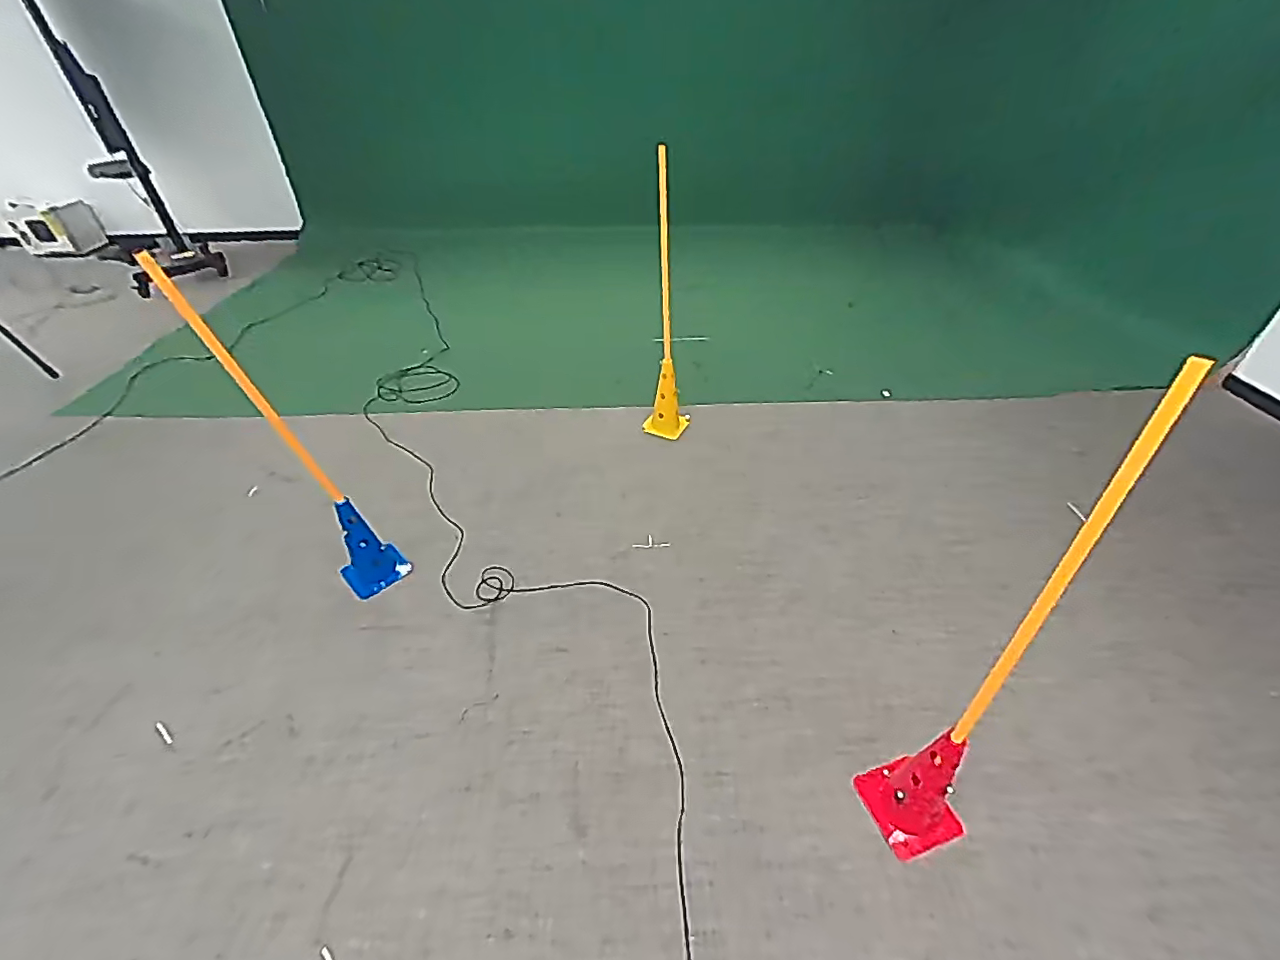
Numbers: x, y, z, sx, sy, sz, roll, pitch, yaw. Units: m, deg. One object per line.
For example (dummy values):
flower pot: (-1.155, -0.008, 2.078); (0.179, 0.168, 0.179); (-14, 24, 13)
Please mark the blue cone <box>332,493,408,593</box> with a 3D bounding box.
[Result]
blue cone: (-0.968, 0.196, 1.862); (0.192, 0.380, 0.193); (31, 51, 31)
